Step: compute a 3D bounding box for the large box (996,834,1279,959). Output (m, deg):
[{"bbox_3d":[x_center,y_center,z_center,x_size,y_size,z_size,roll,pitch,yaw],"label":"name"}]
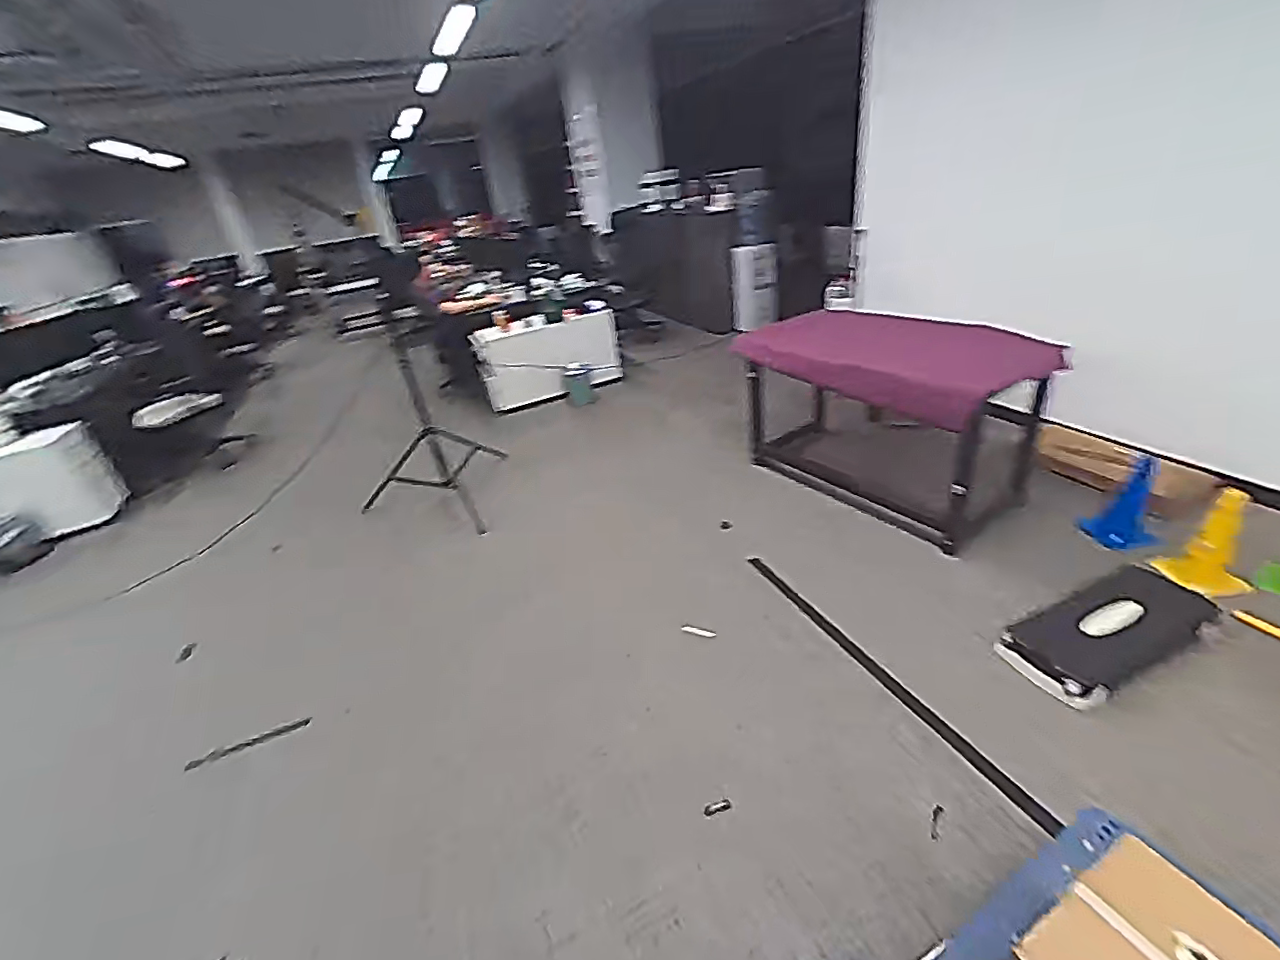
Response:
[{"bbox_3d":[0.795,0.856,0.785,0.320,0.320,0.408,-20,31,-21],"label":"large box"}]
